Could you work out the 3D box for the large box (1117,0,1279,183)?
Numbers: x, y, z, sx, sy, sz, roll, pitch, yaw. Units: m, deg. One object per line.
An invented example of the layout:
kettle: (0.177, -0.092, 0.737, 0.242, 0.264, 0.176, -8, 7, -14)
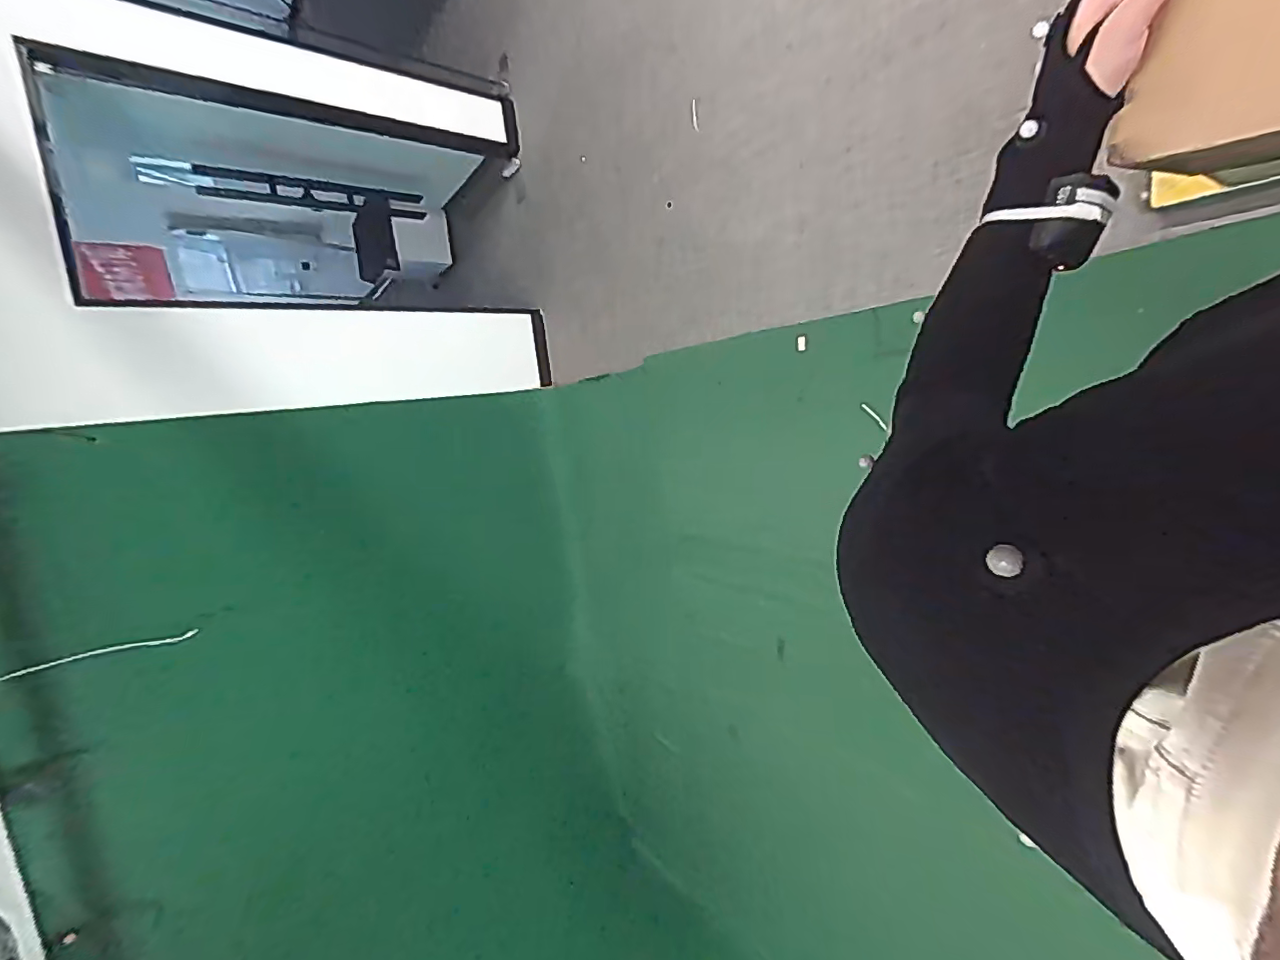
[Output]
large box: (0.616, -0.420, 0.348, 0.408, 0.320, 0.320, 13, 117, 50)
